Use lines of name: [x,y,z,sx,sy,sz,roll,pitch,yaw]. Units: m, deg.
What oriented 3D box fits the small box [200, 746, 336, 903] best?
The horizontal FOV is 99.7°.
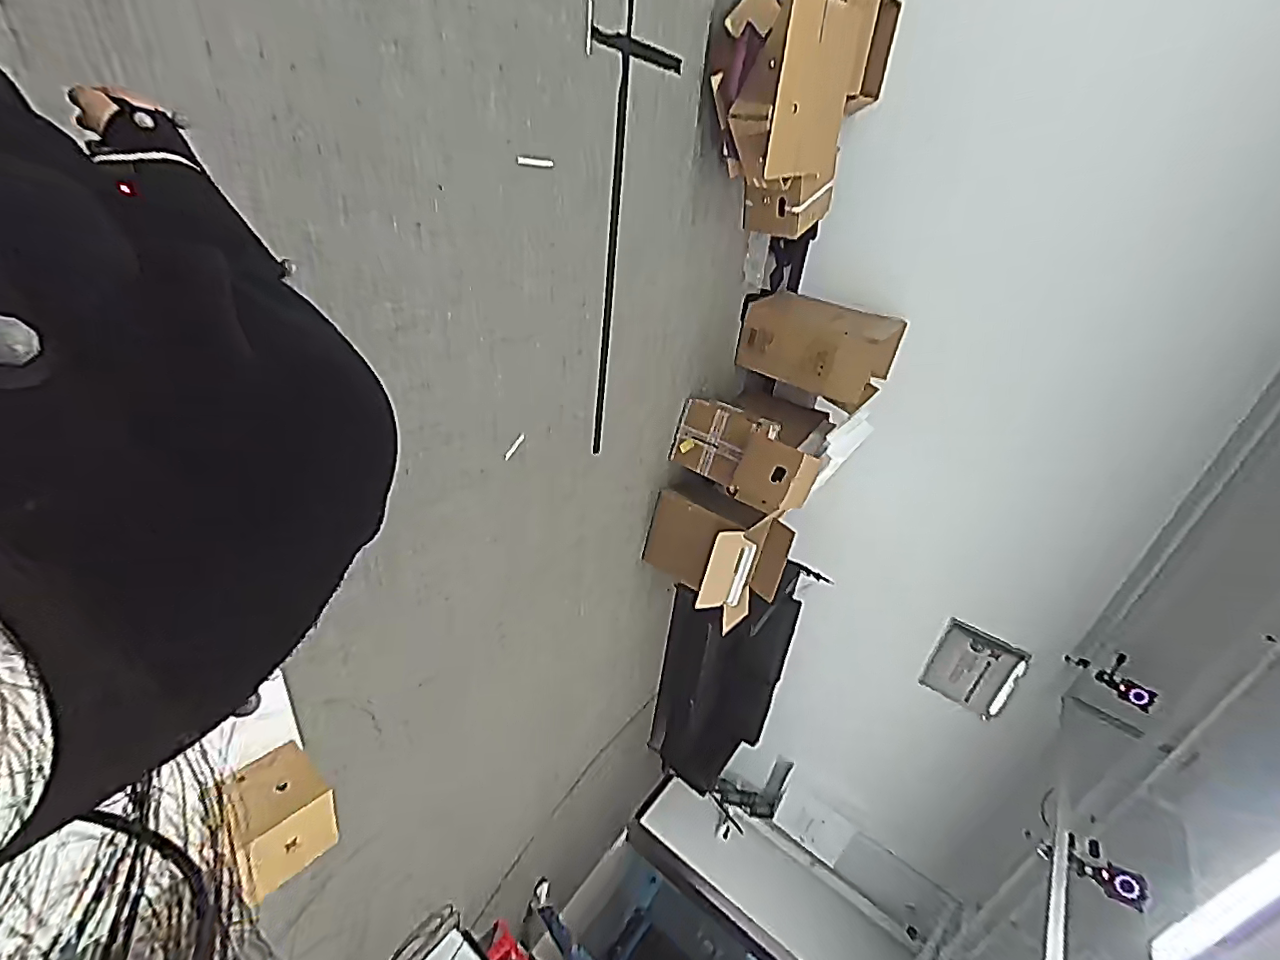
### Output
small box: [-0.734,0.666,1.073,0.168,0.176,0.179,-24,132,-49]
